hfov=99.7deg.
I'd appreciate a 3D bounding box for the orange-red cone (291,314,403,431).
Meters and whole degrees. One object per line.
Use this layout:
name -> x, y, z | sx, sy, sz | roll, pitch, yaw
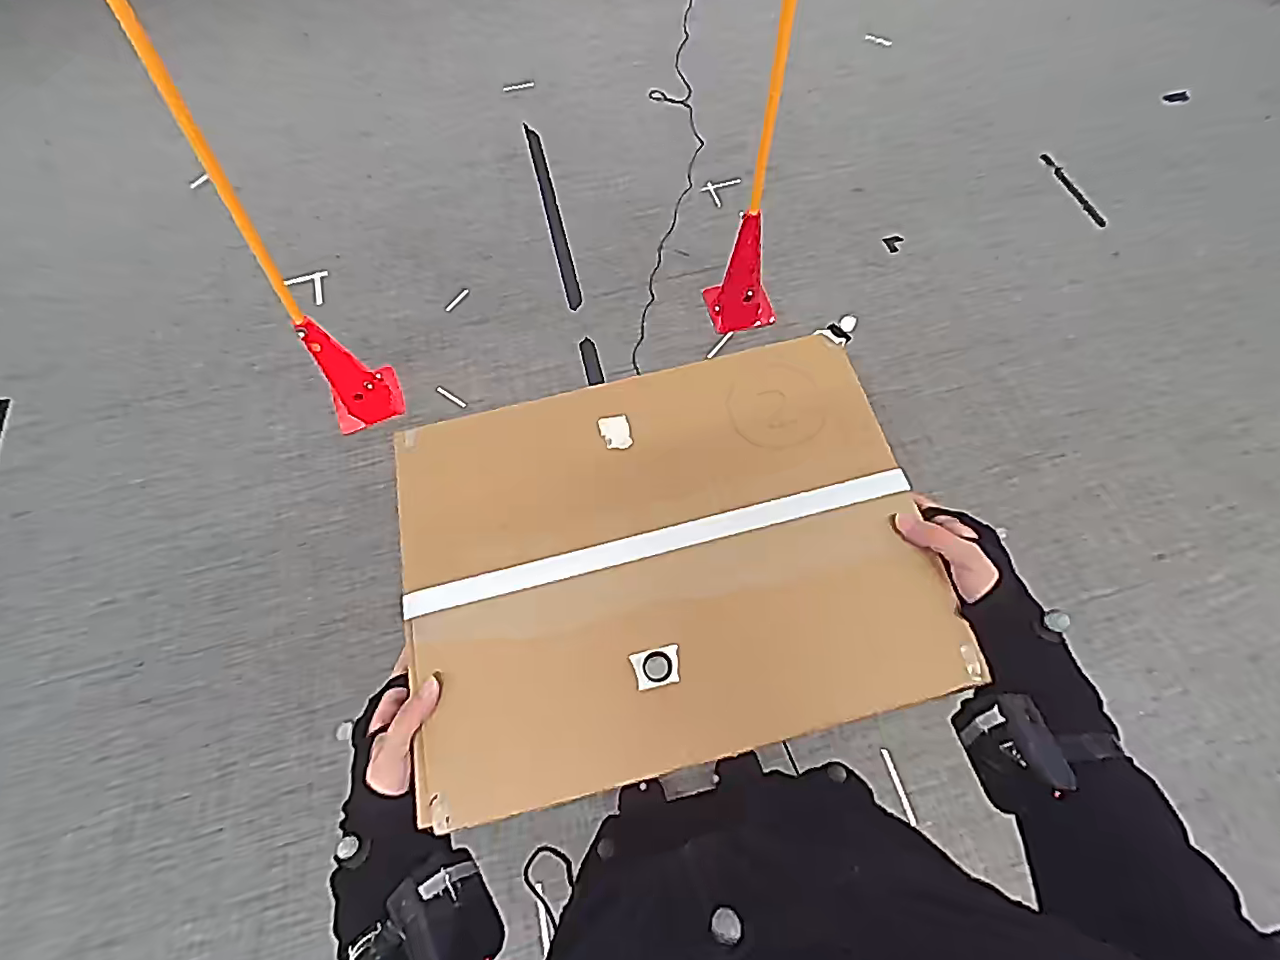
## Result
orange-red cone -> -0.846, -0.325, 1.508 | 0.199, 0.360, 0.198 | -23, 65, -7
